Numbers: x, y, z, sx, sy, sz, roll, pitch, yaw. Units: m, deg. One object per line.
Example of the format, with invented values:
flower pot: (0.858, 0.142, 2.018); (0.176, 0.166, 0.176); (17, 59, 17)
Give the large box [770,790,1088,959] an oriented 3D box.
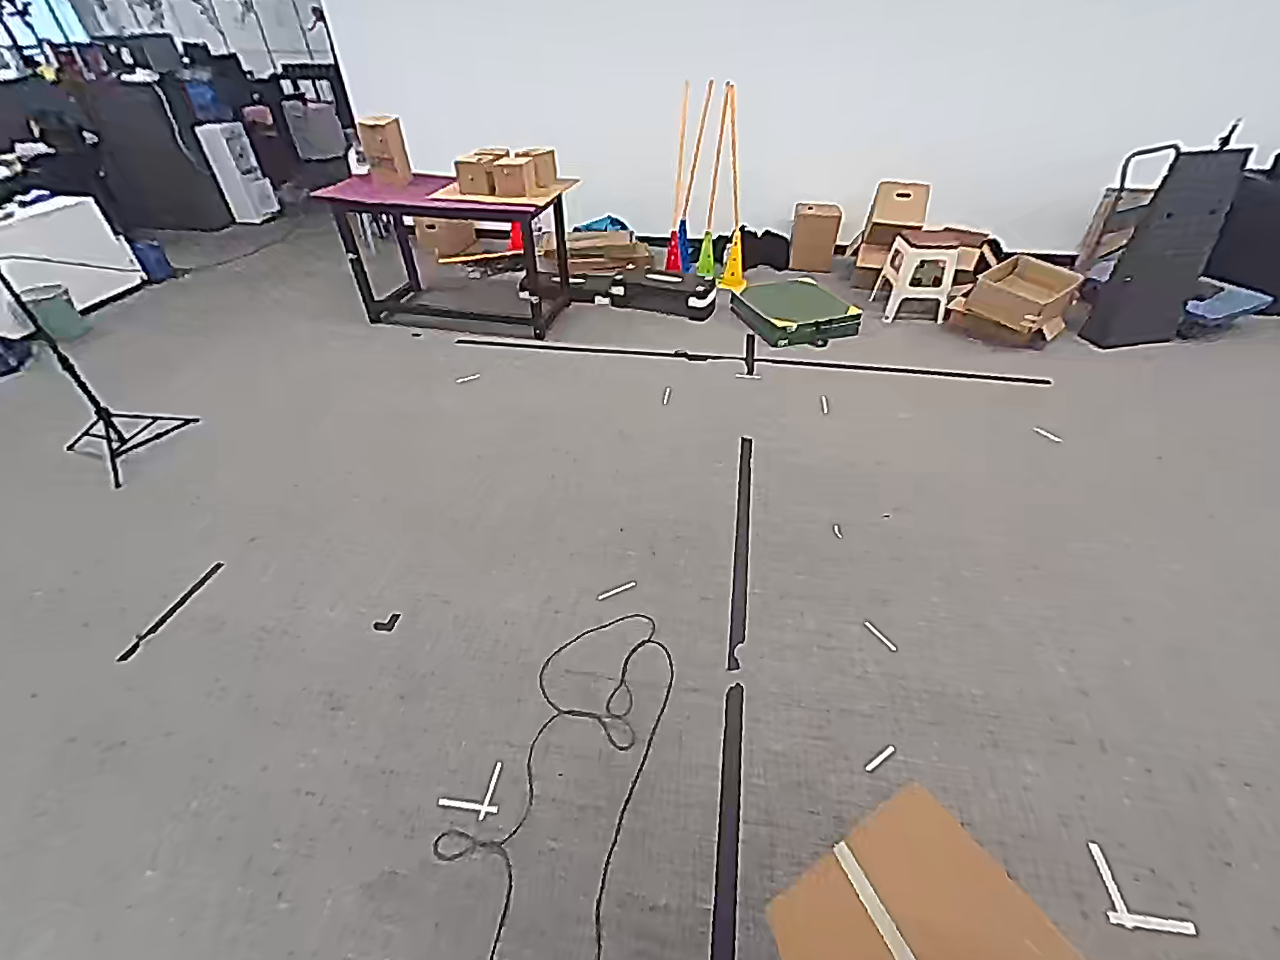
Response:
large box: (0.427, 0.701, 0.660); (0.320, 0.320, 0.408); (-41, 5, -1)
